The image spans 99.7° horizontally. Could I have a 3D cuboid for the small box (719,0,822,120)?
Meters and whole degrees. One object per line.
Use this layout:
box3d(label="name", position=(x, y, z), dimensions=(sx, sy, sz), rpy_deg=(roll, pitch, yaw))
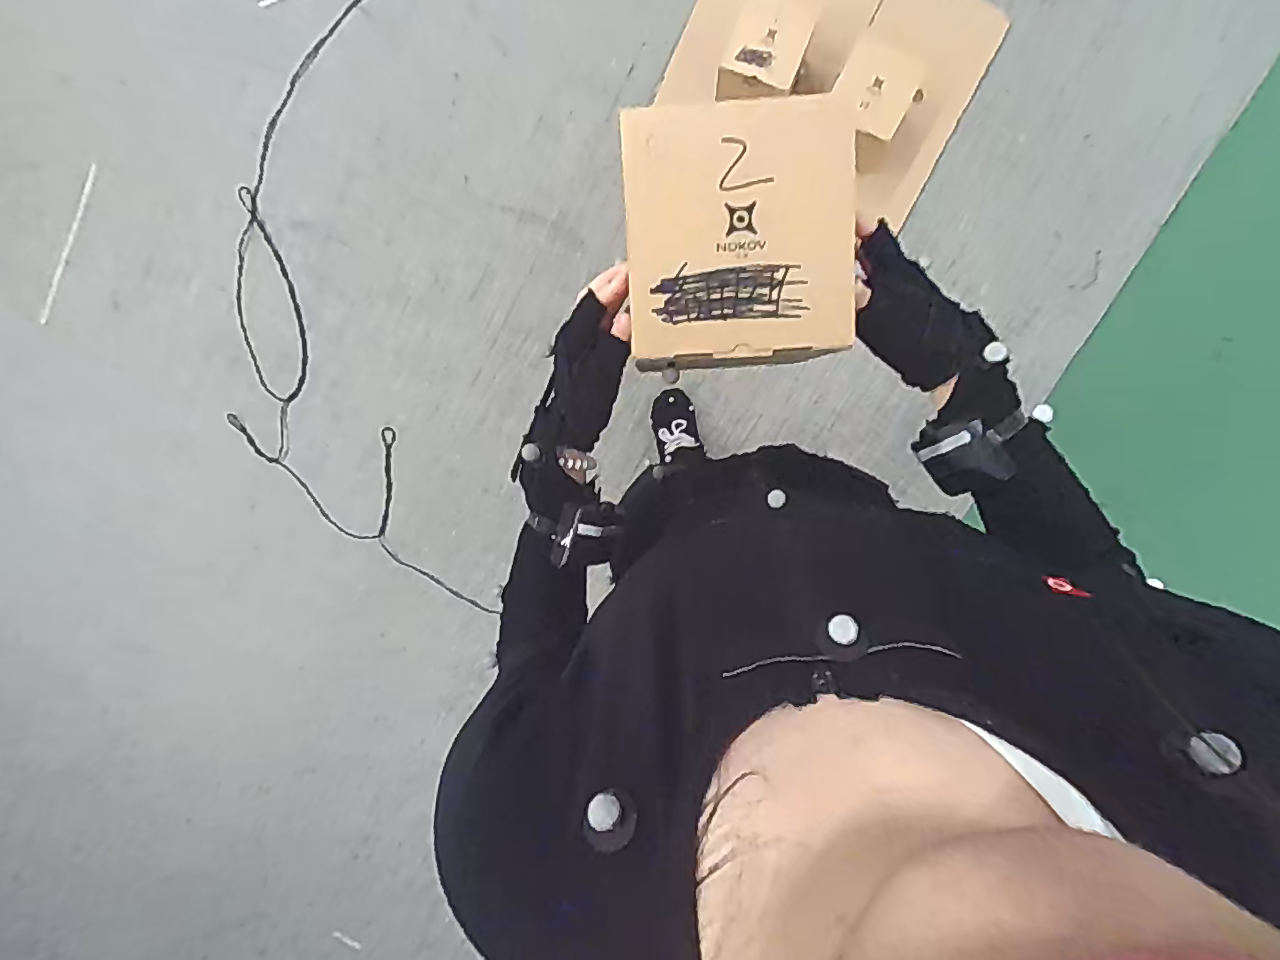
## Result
box3d(label="small box", position=(0.286, -0.968, 1.231), dimensions=(0.168, 0.176, 0.179), rpy_deg=(22, 99, 1))

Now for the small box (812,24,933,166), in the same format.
box3d(label="small box", position=(0.515, -0.864, 1.232), dimensions=(0.168, 0.176, 0.179), rpy_deg=(27, 100, 1))

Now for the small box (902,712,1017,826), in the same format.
box3d(label="small box", position=(0.849, 0.768, 1.457), dimensions=(0.168, 0.176, 0.179), rpy_deg=(36, 100, -2))
